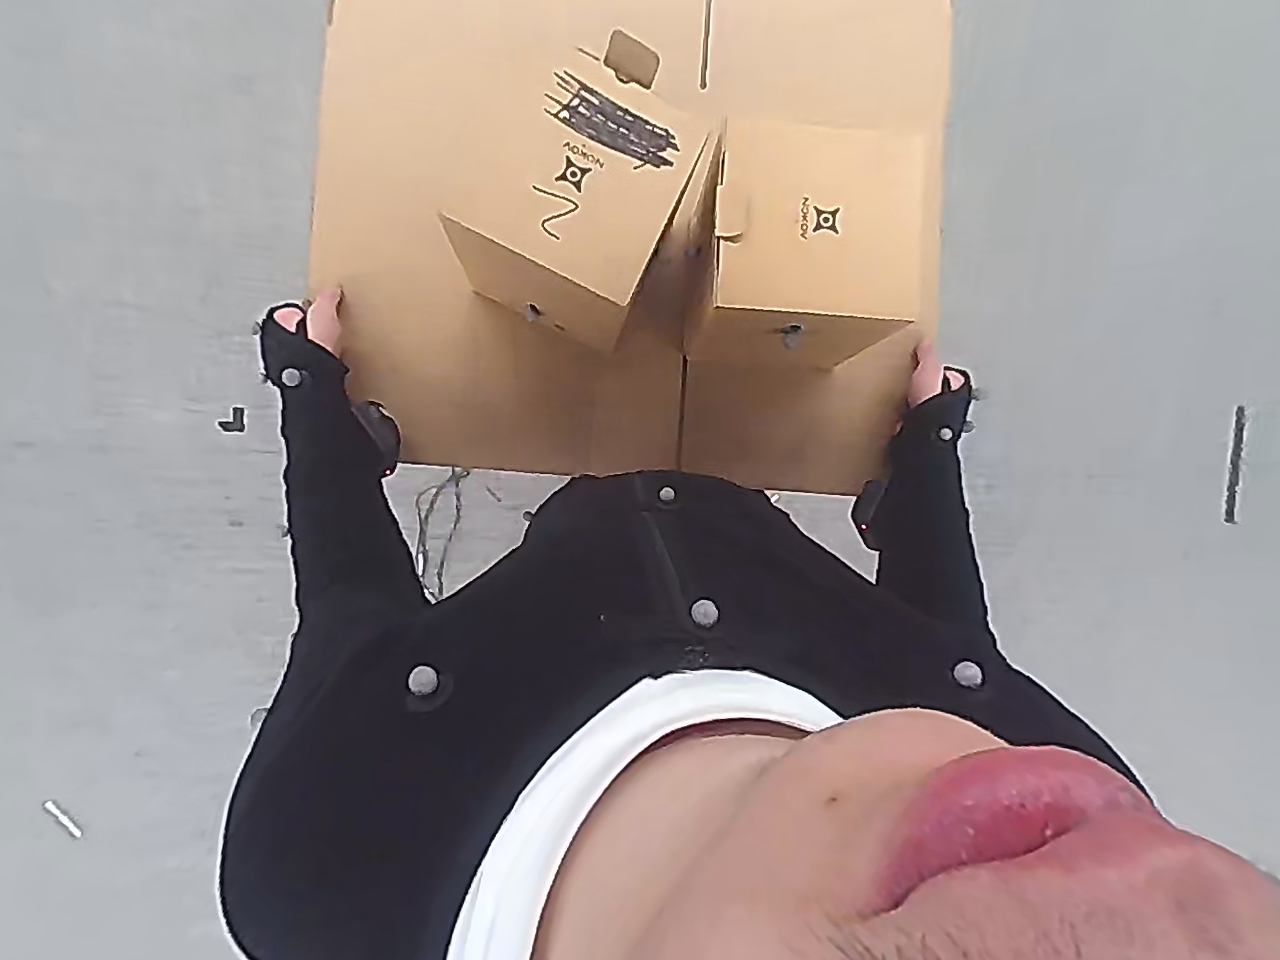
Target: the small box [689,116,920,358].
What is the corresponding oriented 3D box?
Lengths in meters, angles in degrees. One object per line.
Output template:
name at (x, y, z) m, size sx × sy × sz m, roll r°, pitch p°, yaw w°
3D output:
small box at (0.152, -0.227, 0.550) m, size 0.179 × 0.176 × 0.168 m, roll 3°, pitch 88°, yaw -3°
